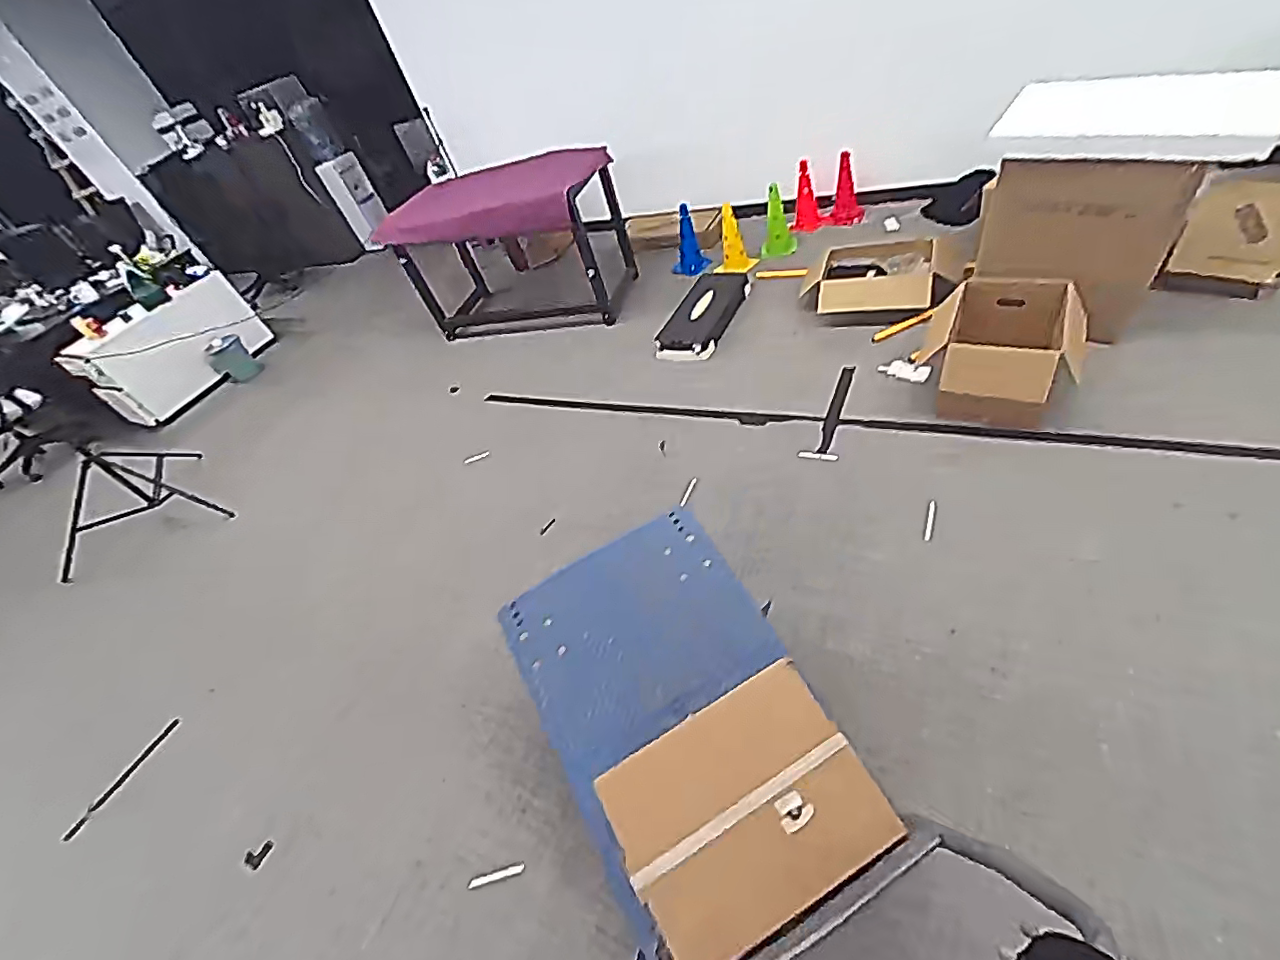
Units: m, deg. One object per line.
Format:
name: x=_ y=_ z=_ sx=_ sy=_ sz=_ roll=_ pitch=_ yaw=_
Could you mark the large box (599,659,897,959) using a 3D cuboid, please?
large box: x=0.184 y=0.611 z=1.027 sx=0.408 sy=0.320 sz=0.320 roll=-30 pitch=63 yaw=-11
